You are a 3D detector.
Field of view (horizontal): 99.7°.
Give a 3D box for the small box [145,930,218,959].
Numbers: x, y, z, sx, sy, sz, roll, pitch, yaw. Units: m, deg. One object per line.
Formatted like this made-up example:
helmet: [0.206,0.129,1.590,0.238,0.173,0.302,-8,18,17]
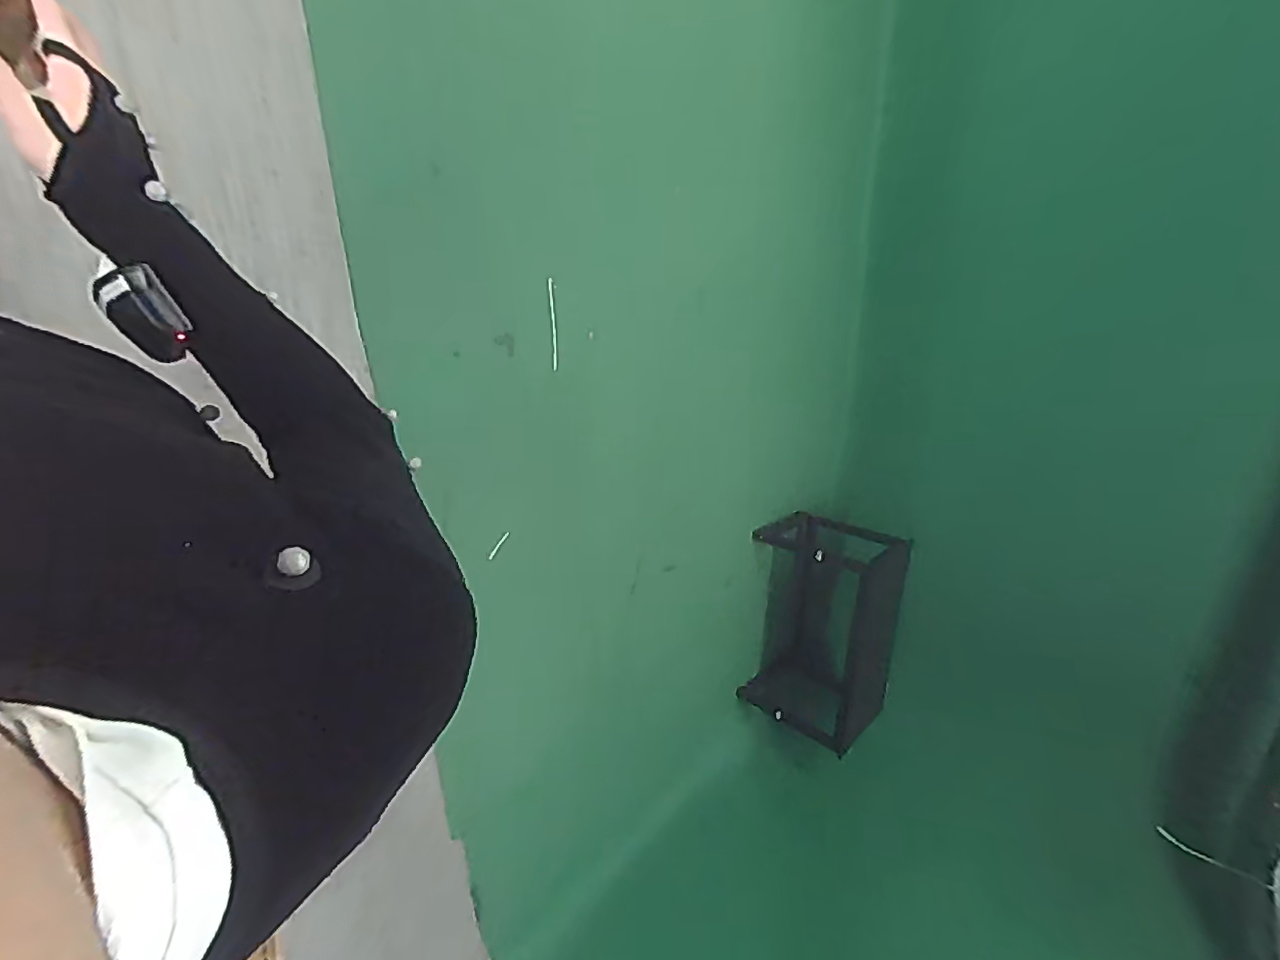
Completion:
small box: [-0.841,0.959,0.945,0.179,0.176,0.168,-8,110,-44]
